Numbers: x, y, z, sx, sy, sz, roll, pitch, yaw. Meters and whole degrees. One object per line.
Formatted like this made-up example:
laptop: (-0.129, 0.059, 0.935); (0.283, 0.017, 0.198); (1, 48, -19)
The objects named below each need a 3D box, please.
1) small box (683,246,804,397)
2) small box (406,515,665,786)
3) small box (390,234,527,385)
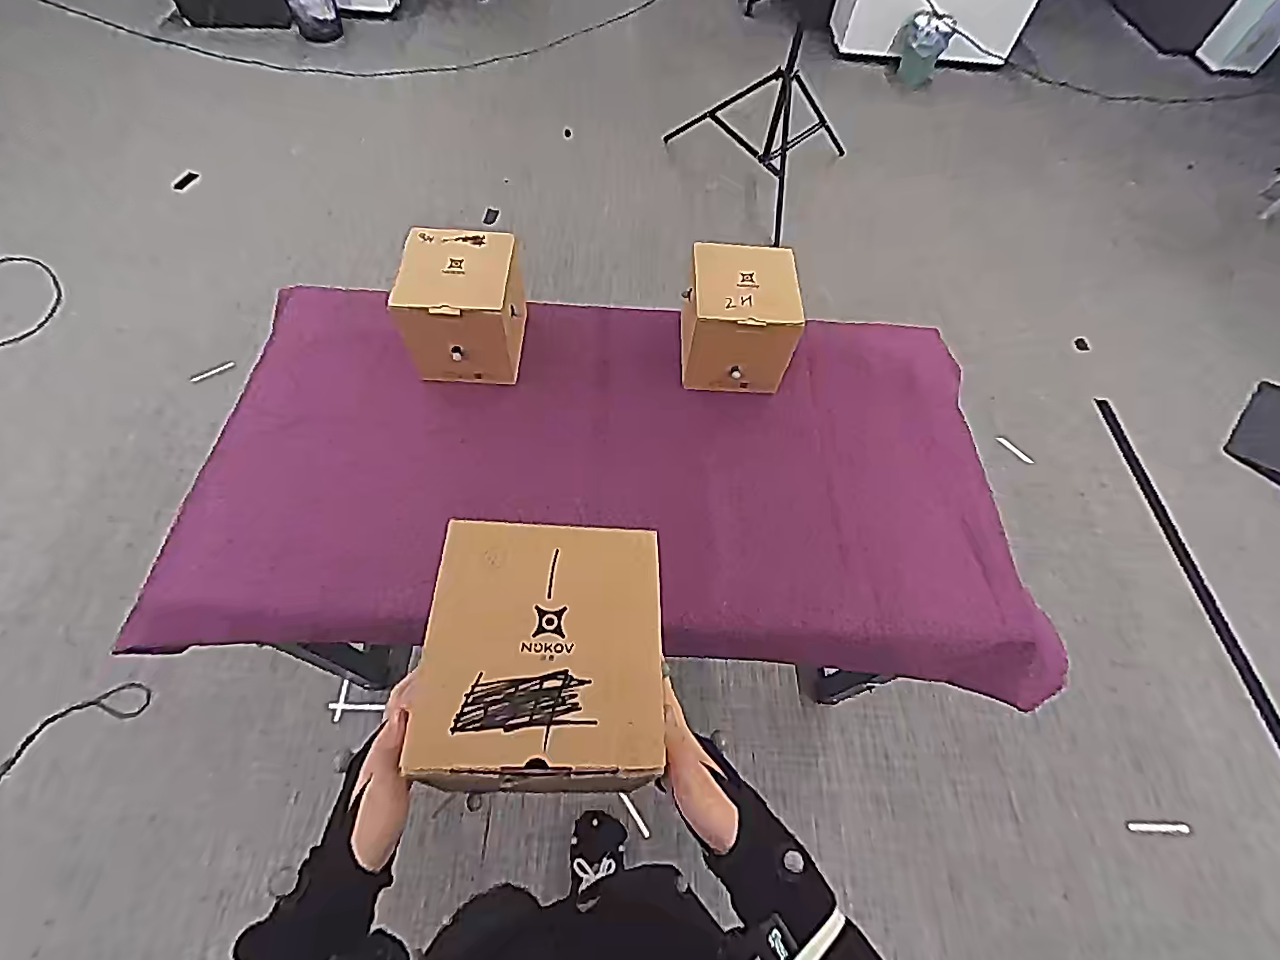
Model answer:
small box: (0.163, -0.266, 0.918); (0.168, 0.176, 0.179); (2, 61, -2)
small box: (-0.074, 0.149, 0.450); (0.168, 0.176, 0.179); (4, 55, -7)
small box: (-0.284, -0.274, 0.891); (0.168, 0.176, 0.179); (2, 62, -3)
